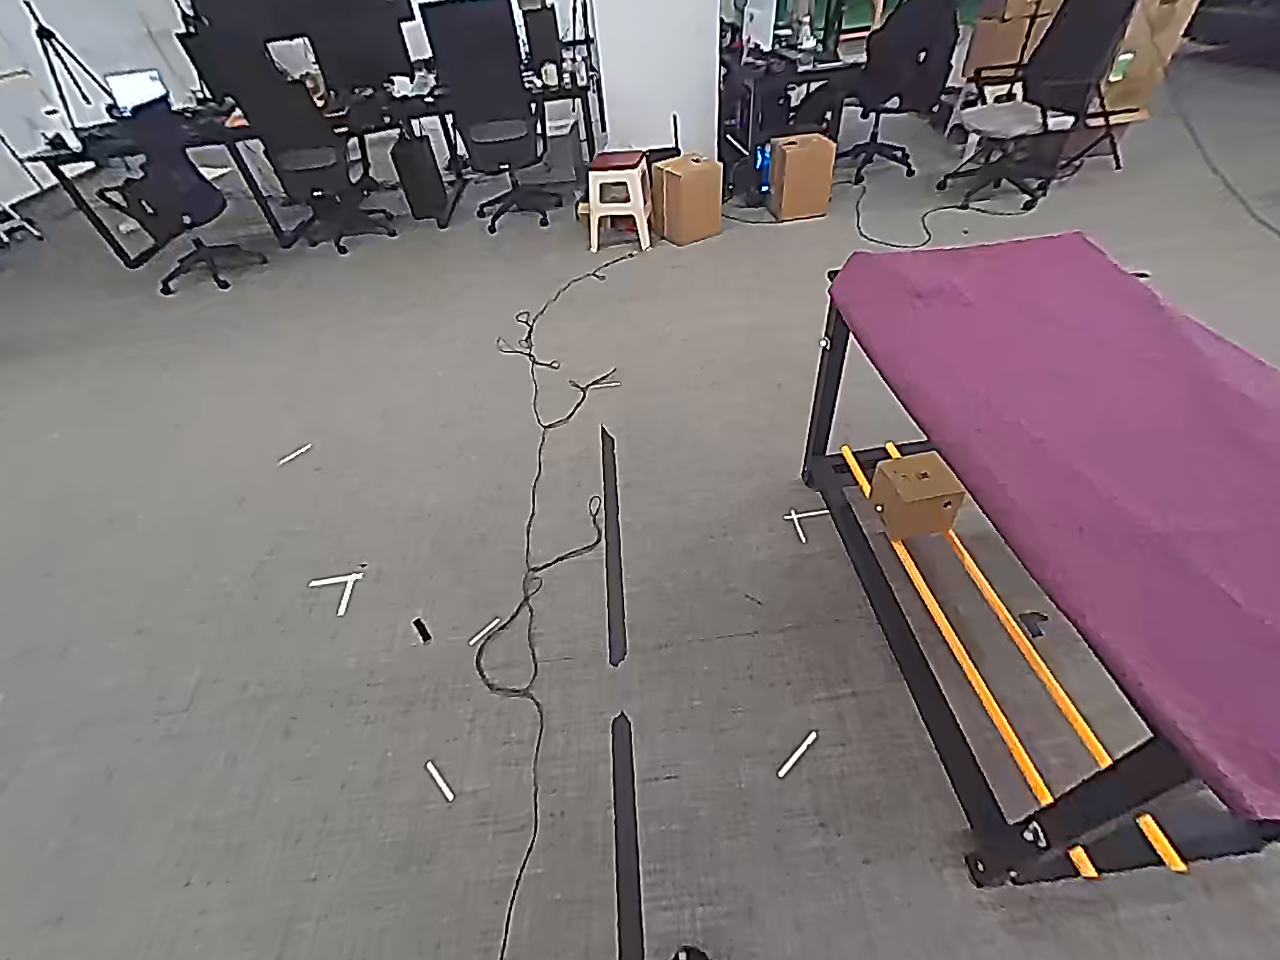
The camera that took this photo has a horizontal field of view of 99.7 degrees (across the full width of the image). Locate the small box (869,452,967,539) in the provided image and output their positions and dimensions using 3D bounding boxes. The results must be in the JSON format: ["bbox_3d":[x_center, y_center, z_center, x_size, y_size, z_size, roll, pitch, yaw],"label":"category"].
[{"bbox_3d":[0.780,0.047,1.539,0.179,0.176,0.168,-11,45,-1],"label":"small box"}]
